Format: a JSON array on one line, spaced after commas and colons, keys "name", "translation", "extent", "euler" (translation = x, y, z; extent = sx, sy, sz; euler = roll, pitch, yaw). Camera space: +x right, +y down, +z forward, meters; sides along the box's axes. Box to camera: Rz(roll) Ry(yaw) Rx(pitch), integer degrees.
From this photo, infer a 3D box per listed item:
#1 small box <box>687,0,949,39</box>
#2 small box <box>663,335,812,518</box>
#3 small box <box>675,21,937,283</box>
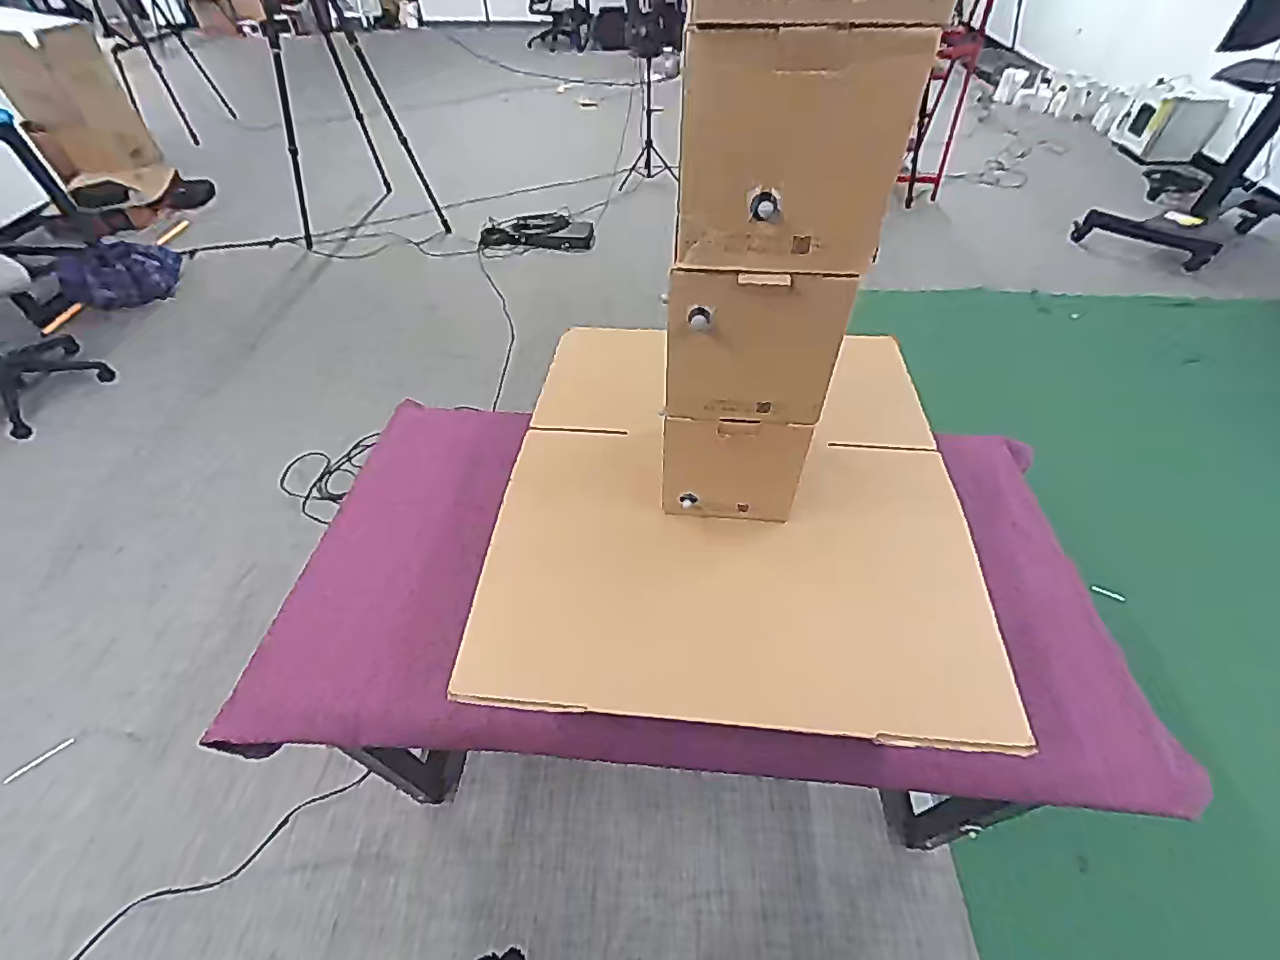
[{"name": "small box", "translation": [0.116, -0.403, 0.346], "extent": [0.168, 0.176, 0.179], "euler": [2, 47, 2]}, {"name": "small box", "translation": [0.118, -0.067, 0.705], "extent": [0.168, 0.176, 0.179], "euler": [4, 47, 5]}, {"name": "small box", "translation": [0.118, -0.292, 0.467], "extent": [0.168, 0.176, 0.179], "euler": [3, 47, 3]}]
